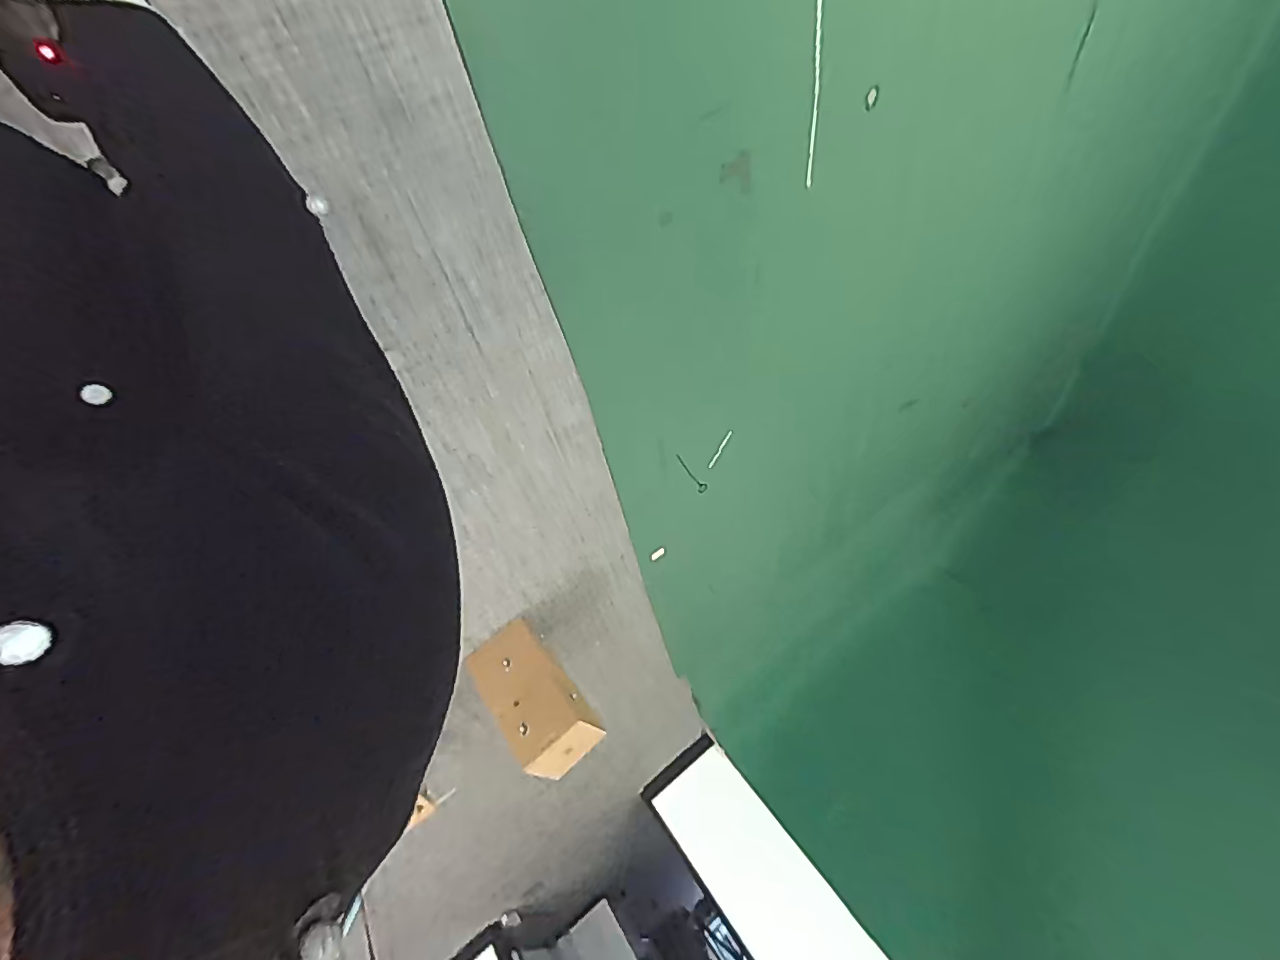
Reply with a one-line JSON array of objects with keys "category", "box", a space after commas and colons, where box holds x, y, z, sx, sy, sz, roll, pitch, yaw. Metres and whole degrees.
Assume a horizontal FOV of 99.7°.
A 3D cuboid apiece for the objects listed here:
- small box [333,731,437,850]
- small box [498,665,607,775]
[{"category": "small box", "box": [-0.643, 0.772, 1.353, 0.179, 0.176, 0.168, -29, 140, -21]}, {"category": "small box", "box": [-0.215, 0.581, 1.316, 0.168, 0.176, 0.179, -40, 143, -7]}]
